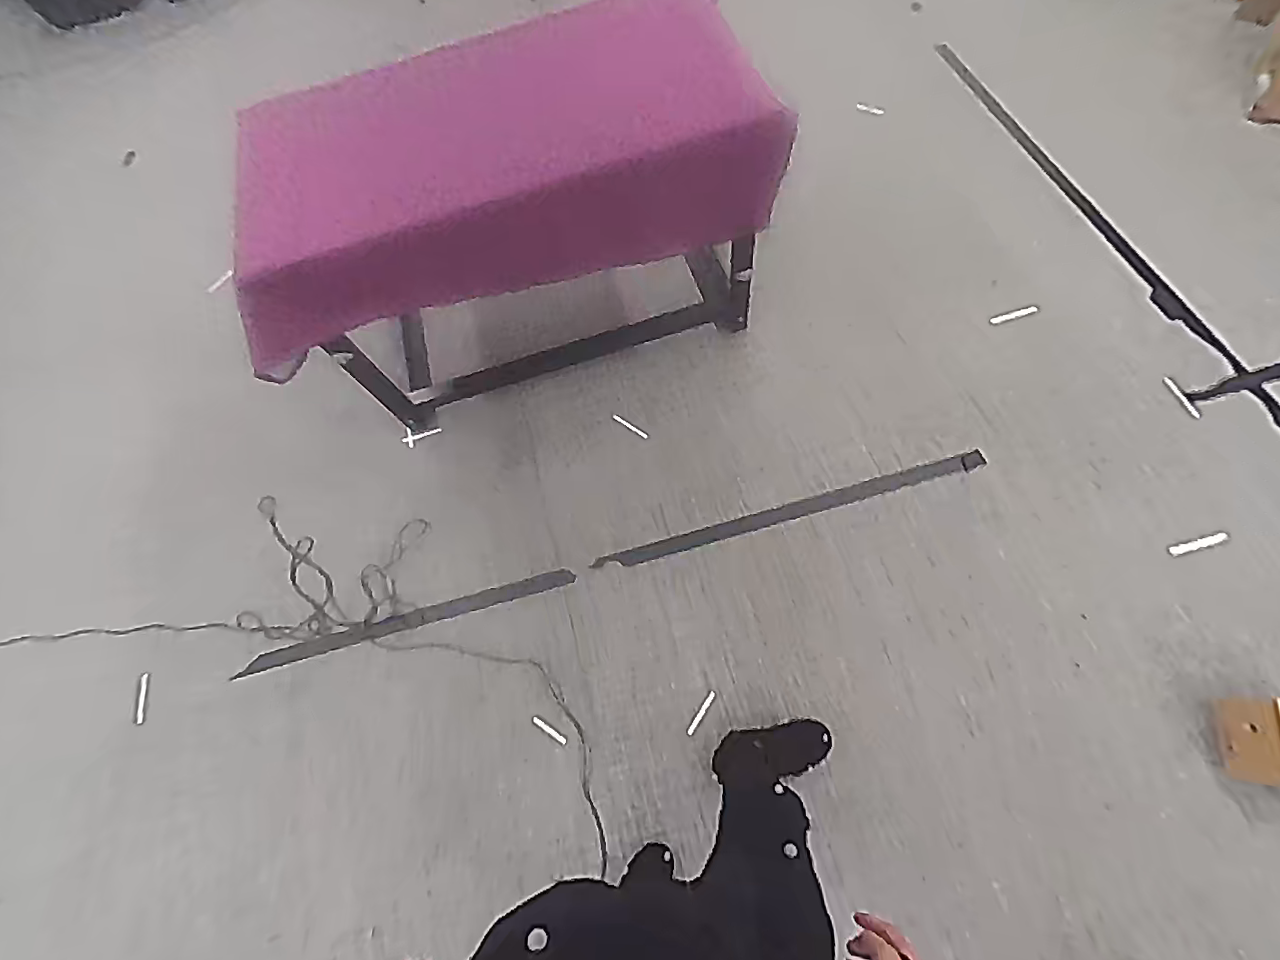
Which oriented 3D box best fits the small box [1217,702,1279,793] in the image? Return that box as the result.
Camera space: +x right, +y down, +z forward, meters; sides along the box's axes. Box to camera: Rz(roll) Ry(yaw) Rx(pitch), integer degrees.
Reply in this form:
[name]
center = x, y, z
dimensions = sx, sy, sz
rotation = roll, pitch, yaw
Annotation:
[small box]
center = 1.388, 0.577, 1.143
dimensions = 0.179, 0.176, 0.168
rotation = 8, 68, 10
